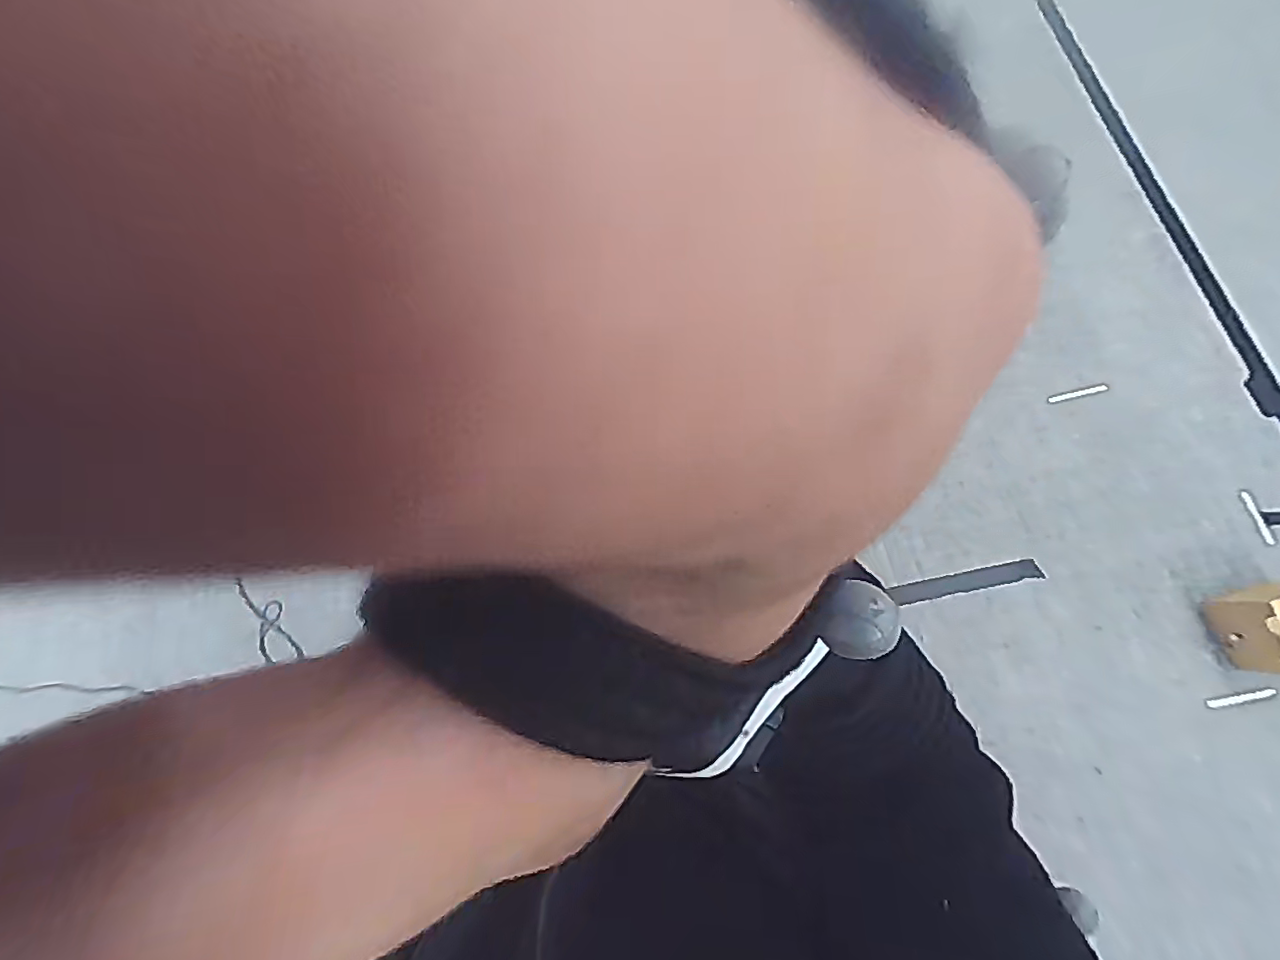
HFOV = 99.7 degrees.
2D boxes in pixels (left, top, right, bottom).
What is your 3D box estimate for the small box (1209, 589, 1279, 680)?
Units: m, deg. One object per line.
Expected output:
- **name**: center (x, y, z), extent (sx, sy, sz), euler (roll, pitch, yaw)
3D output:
- **small box**: center (1.458, 0.341, 1.202), extent (0.179, 0.176, 0.168), euler (-17, 75, 4)
